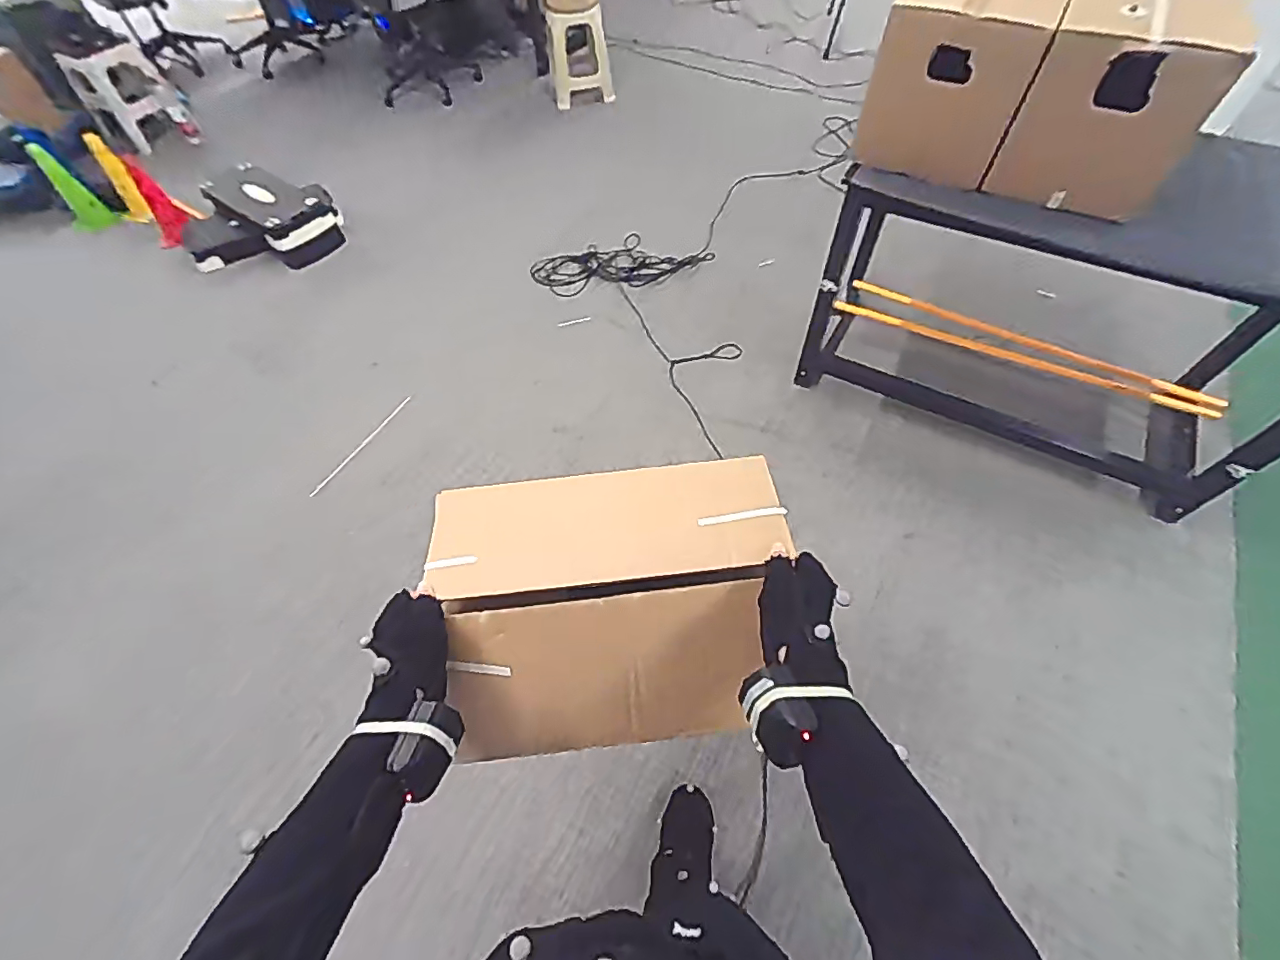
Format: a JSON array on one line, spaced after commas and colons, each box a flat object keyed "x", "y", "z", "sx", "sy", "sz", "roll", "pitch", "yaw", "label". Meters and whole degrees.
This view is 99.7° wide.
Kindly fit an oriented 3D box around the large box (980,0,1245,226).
[{"x": 1.016, "y": -0.839, "z": 1.195, "sx": 0.320, "sy": 0.320, "sz": 0.408, "roll": 24, "pitch": 62, "yaw": 19, "label": "large box"}]
